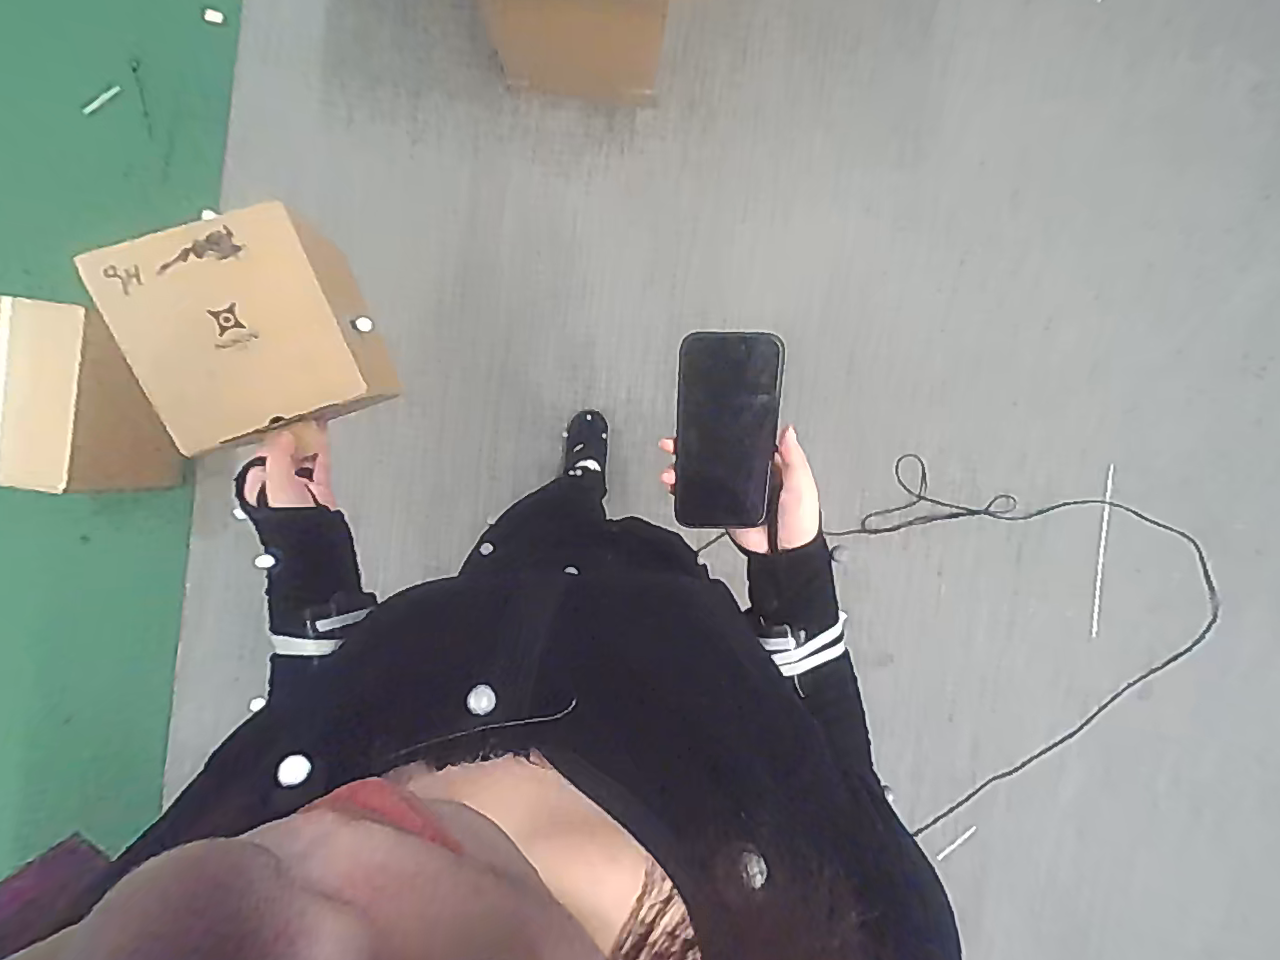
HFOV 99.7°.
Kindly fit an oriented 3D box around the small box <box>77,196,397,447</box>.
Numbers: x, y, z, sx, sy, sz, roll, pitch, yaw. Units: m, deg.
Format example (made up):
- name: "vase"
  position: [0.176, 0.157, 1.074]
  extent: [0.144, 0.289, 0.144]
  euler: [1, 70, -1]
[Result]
- name: "small box"
  position: [-0.367, -0.150, 0.540]
  extent: [0.168, 0.176, 0.179]
  euler: [-21, 104, -9]
